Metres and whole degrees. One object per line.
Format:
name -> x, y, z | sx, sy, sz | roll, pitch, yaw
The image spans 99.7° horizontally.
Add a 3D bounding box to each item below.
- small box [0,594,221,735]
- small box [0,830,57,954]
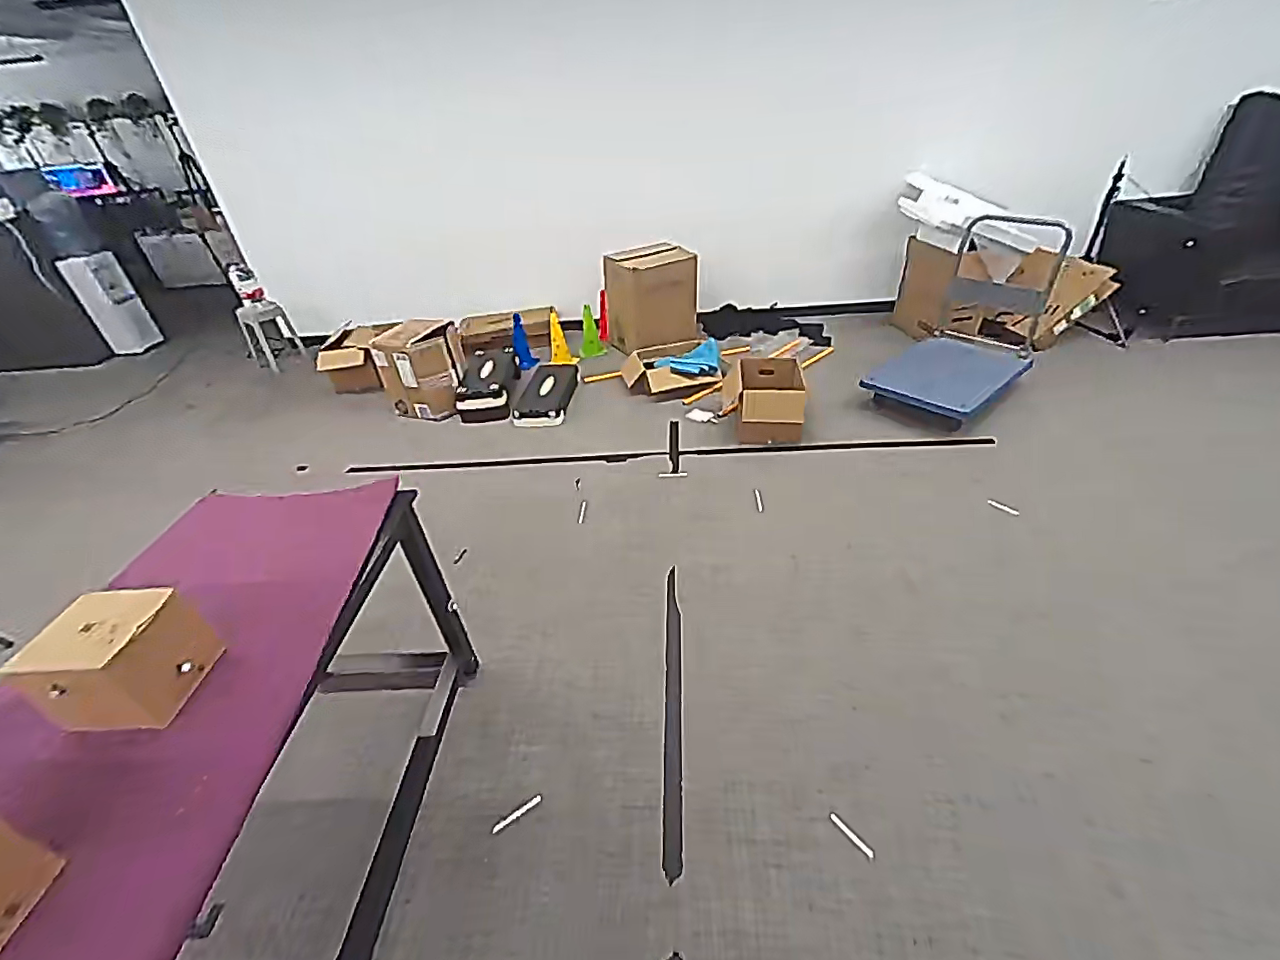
small box -> -0.885, 0.317, 0.924 | 0.179, 0.176, 0.168 | -3, 36, 3
small box -> -0.885, 0.522, 0.636 | 0.179, 0.176, 0.168 | -3, 34, 1
